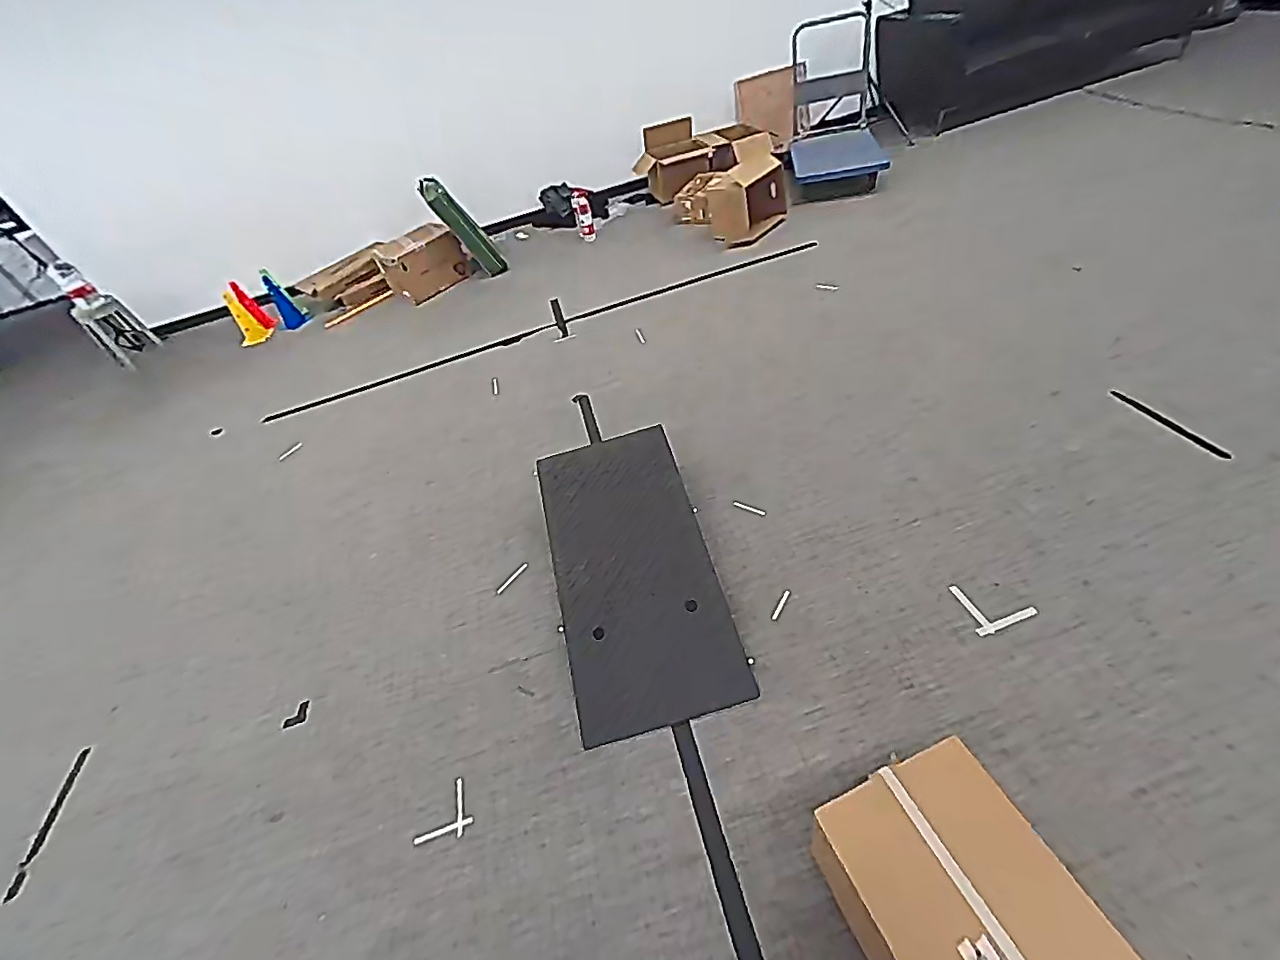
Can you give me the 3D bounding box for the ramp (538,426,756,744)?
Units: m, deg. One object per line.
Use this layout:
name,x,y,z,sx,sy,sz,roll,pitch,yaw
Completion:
ramp,-0.029,0.253,1.731,0.509,0.206,0.991,-17,44,-3

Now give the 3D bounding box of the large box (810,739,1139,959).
large box,0.553,0.765,0.965,0.320,0.320,0.408,-23,45,-7
